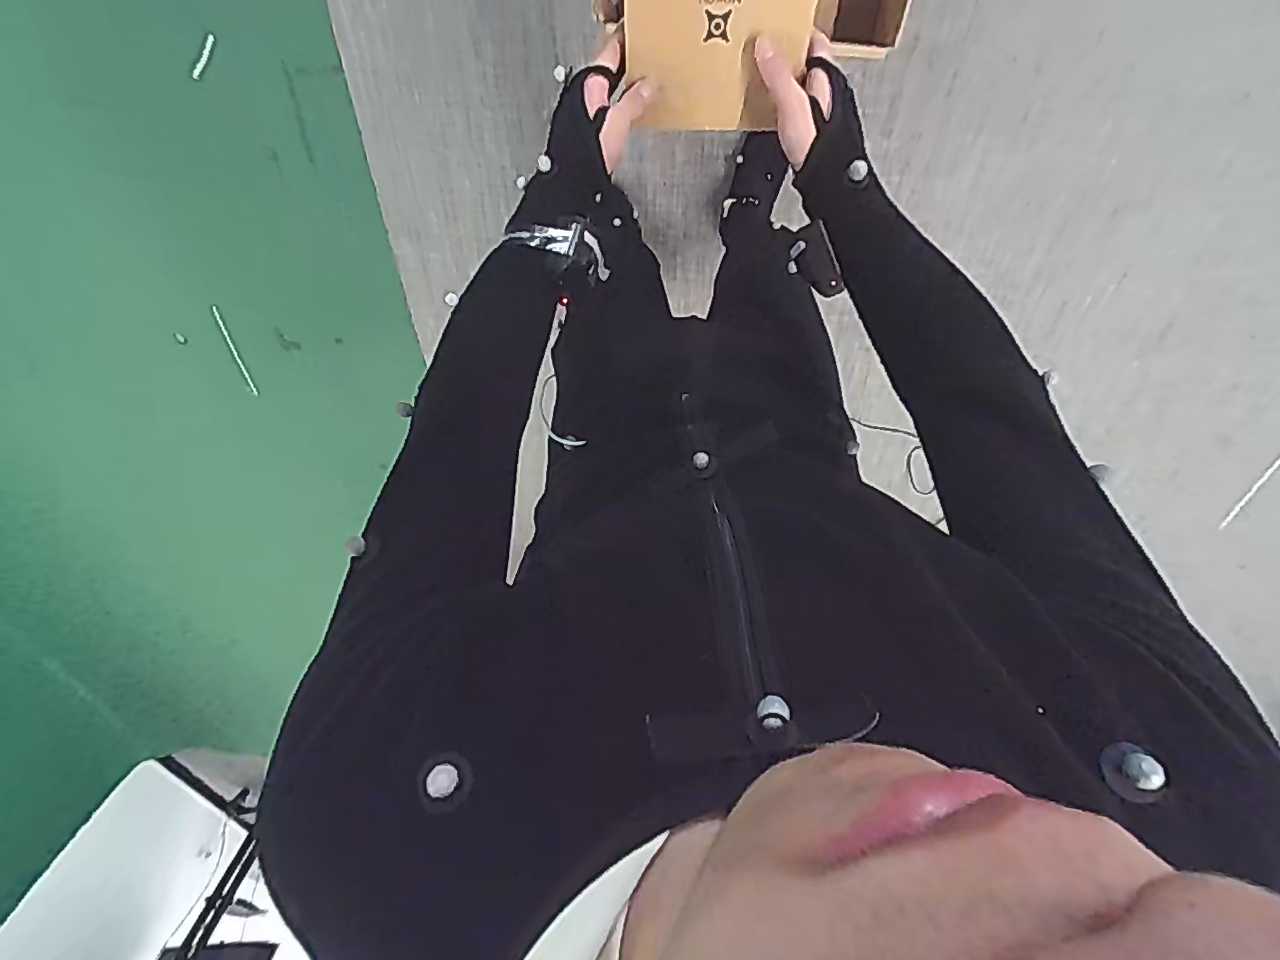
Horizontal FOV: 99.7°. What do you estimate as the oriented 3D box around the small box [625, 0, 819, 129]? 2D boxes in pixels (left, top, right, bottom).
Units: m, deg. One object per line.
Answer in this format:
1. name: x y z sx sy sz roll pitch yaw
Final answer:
1. small box: 0.074 -0.462 0.506 0.168 0.176 0.179 3 144 2
